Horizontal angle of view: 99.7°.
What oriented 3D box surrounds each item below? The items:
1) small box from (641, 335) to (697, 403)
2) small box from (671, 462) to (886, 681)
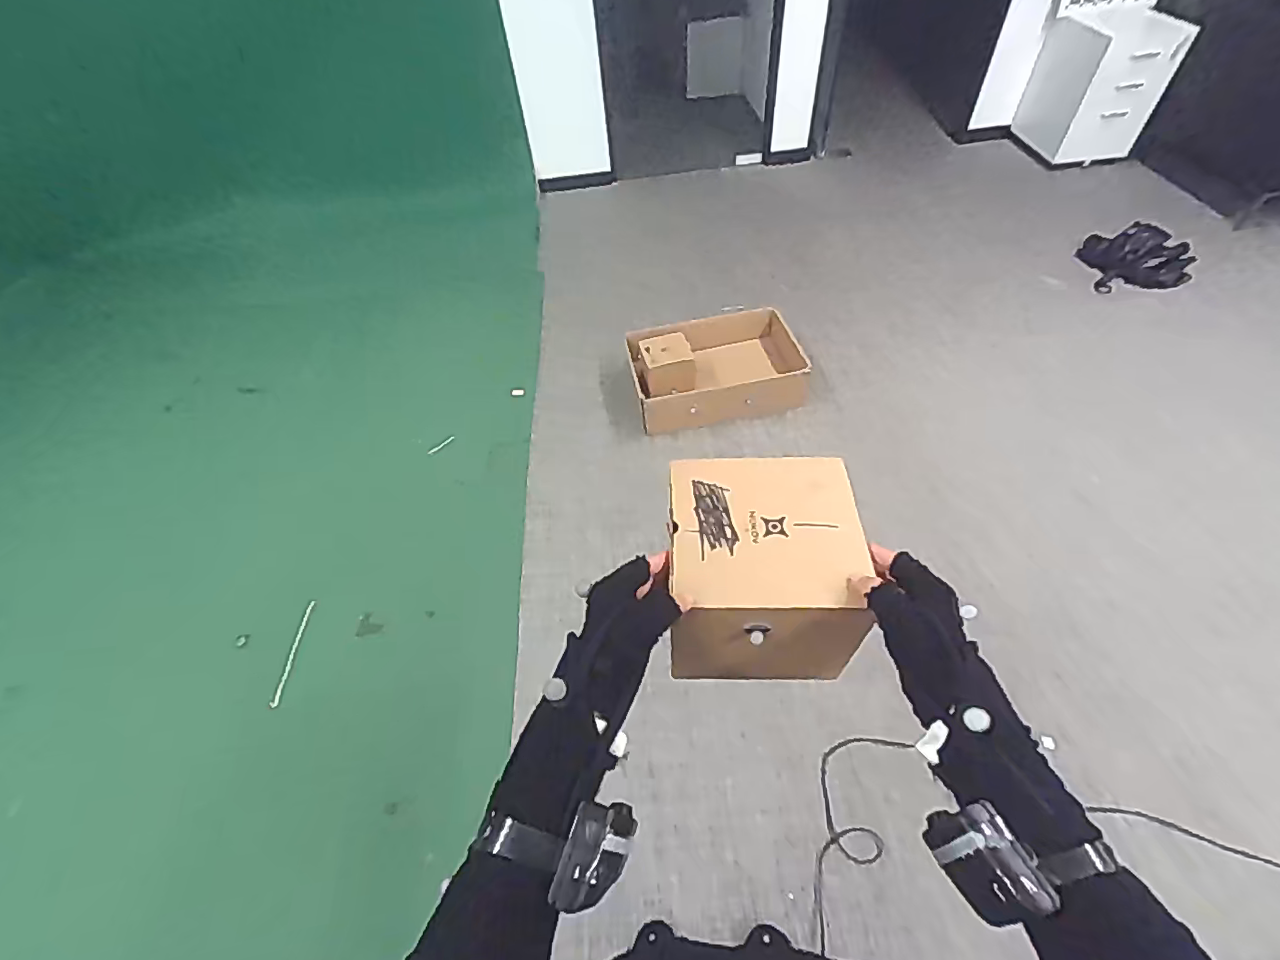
[{"bbox_3d":[0.105,-0.414,2.029,0.179,0.176,0.168,-12,50,-6],"label":"small box"},{"bbox_3d":[0.121,0.098,0.556,0.179,0.176,0.168,0,51,2],"label":"small box"}]
